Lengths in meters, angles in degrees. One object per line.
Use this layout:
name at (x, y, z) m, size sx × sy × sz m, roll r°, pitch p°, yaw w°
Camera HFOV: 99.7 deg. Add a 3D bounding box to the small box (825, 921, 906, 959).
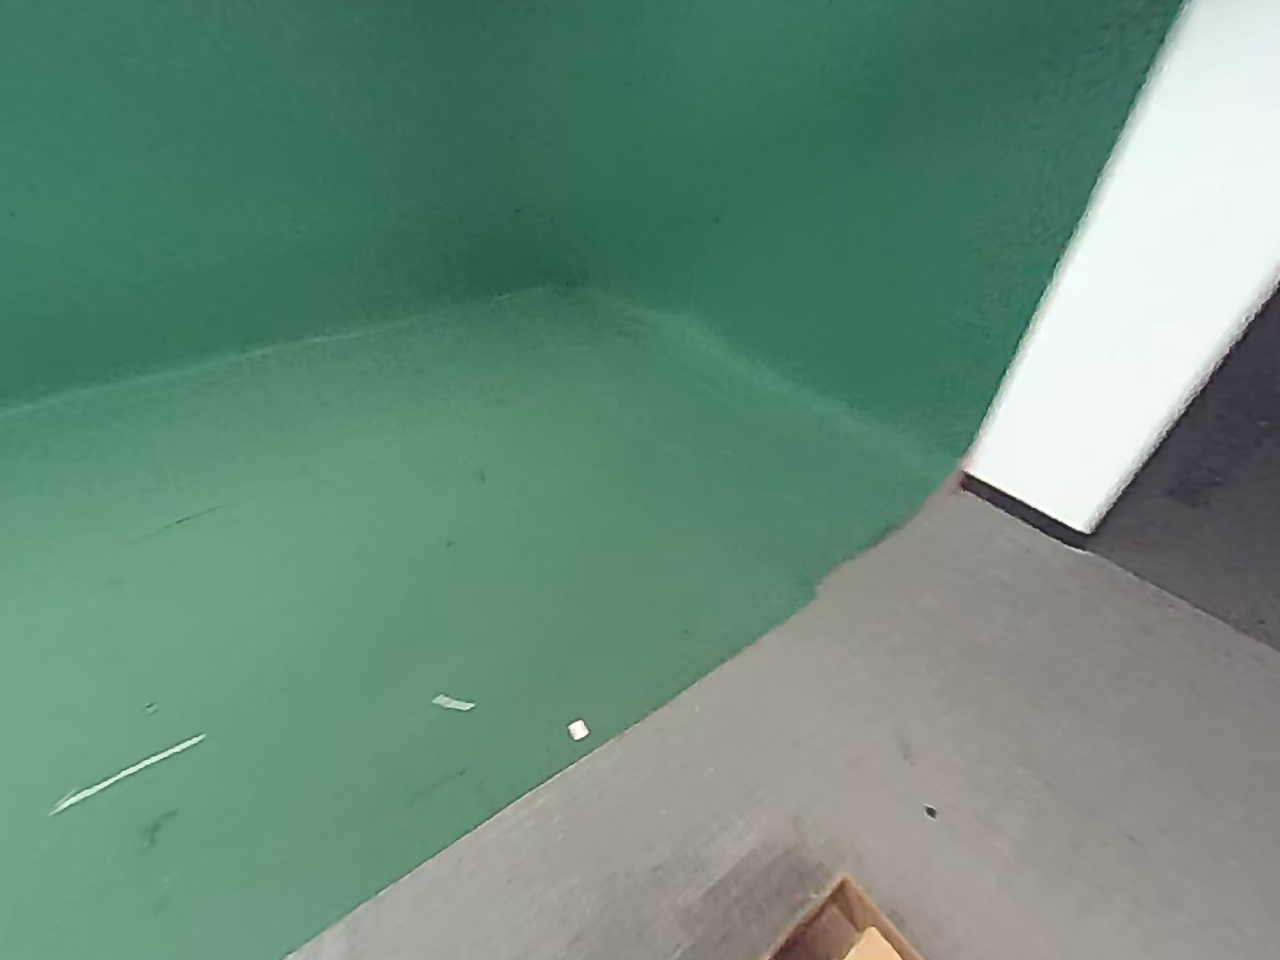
small box at (0.354, 0.851, 0.847) m, size 0.179 × 0.176 × 0.168 m, roll -25°, pitch 47°, yaw -27°
